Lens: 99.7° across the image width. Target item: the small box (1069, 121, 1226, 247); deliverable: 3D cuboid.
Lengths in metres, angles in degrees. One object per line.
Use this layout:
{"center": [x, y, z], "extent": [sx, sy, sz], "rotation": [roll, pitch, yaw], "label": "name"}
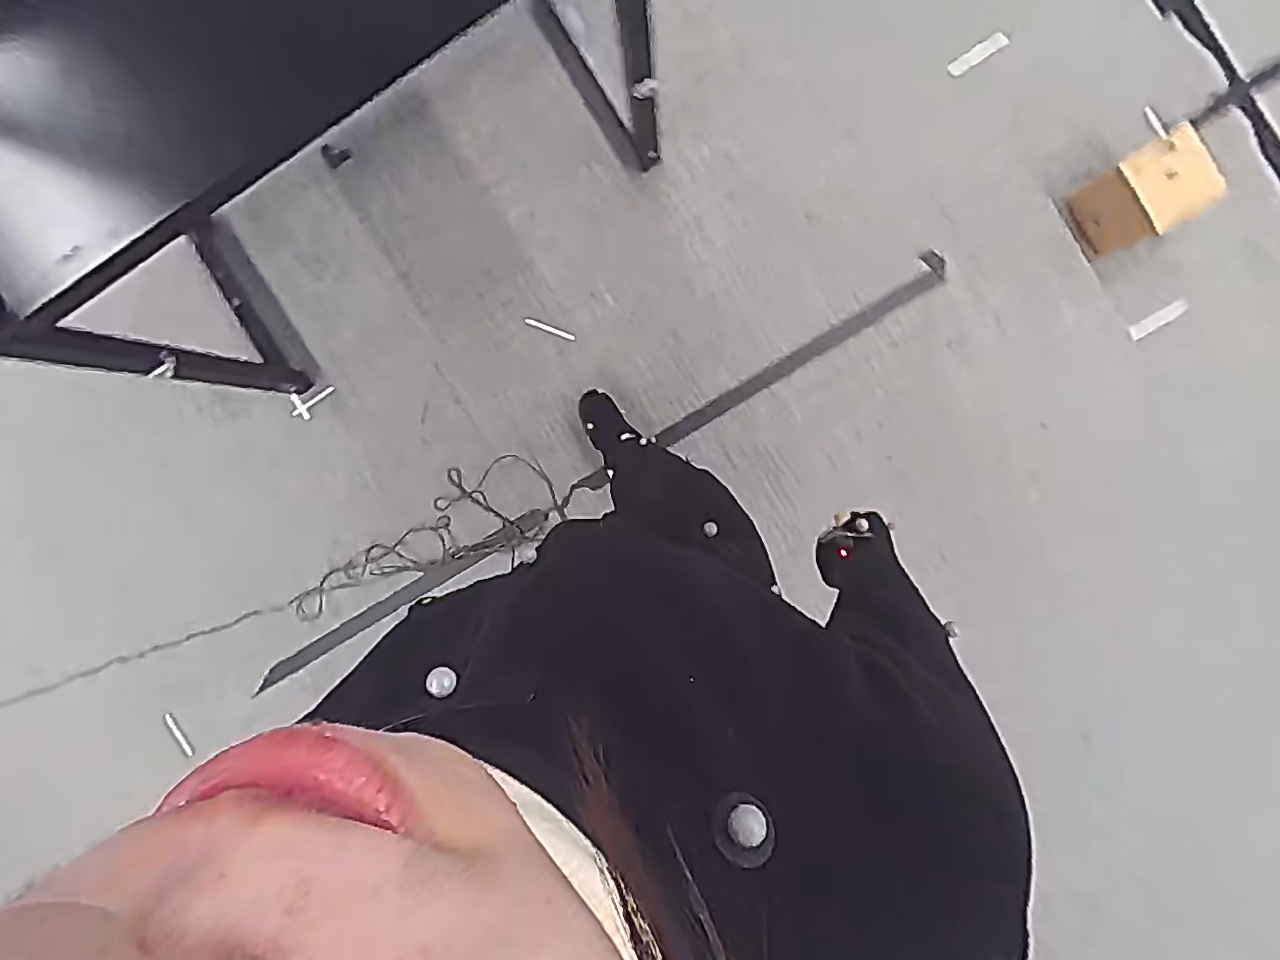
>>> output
{"center": [1.163, -0.669, 1.254], "extent": [0.168, 0.176, 0.179], "rotation": [-32, 93, 5], "label": "small box"}
